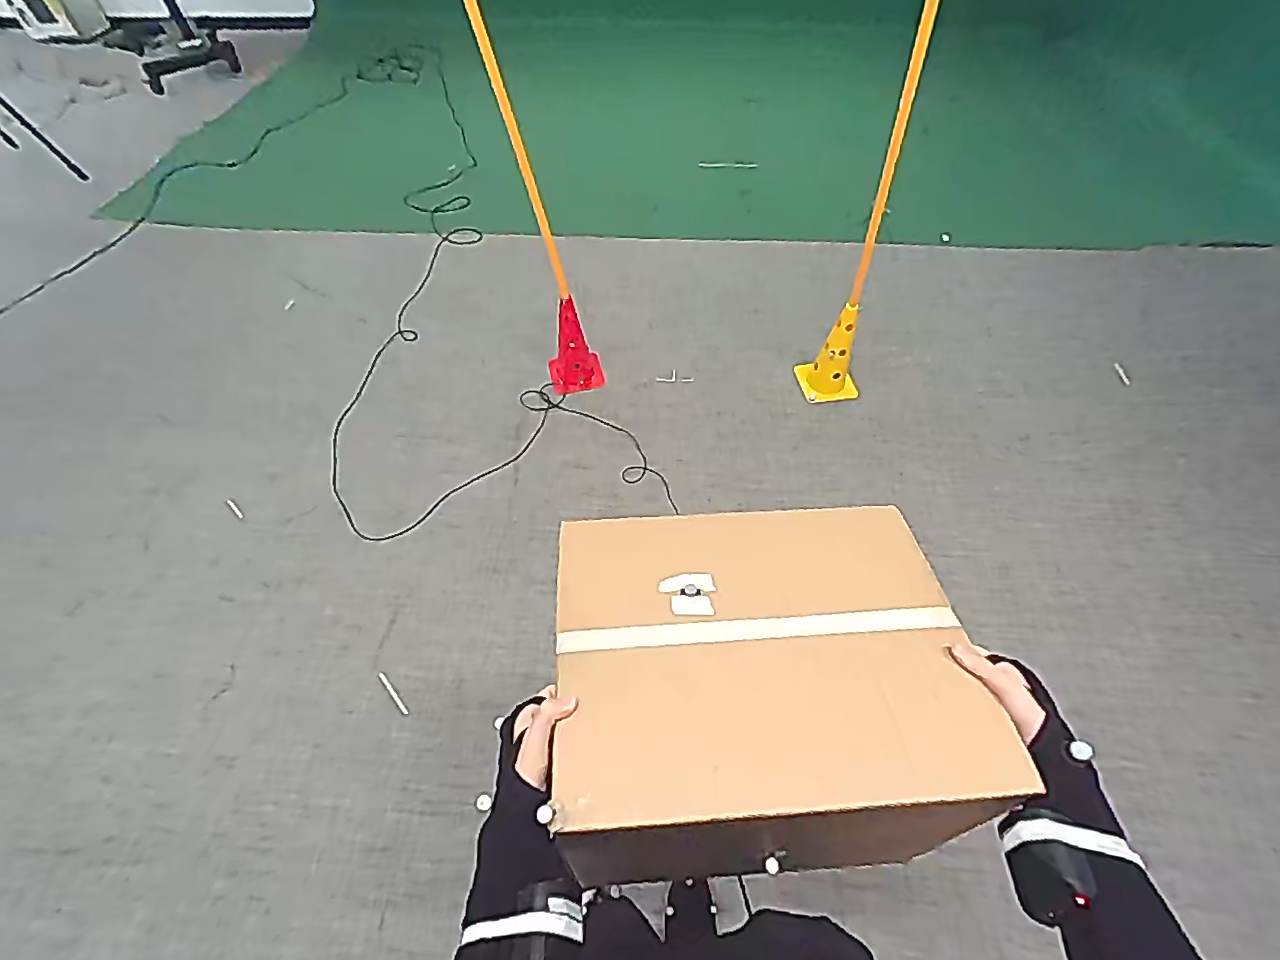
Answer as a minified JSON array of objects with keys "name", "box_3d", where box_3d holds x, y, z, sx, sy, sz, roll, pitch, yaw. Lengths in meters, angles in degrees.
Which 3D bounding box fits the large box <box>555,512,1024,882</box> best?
[{"name":"large box","box_3d":[0.120,0.264,0.654,0.408,0.320,0.320,-3,46,-2]}]
